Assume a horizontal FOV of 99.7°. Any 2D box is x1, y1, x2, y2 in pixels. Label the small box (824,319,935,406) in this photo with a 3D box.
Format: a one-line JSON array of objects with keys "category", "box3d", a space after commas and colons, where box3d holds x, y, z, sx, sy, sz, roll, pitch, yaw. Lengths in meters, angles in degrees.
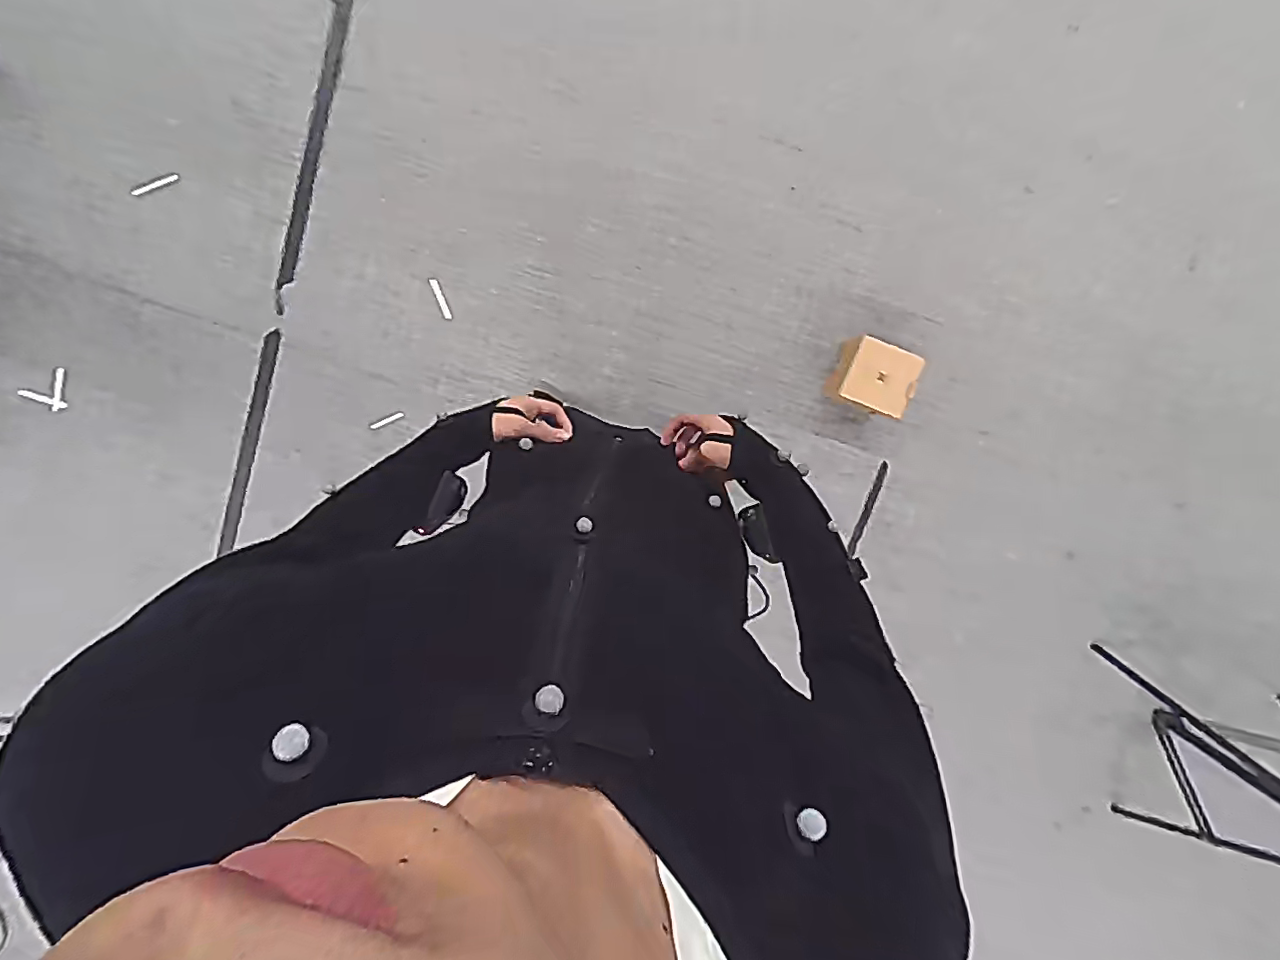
[{"category": "small box", "box3d": [0.614, -0.305, 1.410, 0.179, 0.176, 0.168, 21, 100, -3]}]
